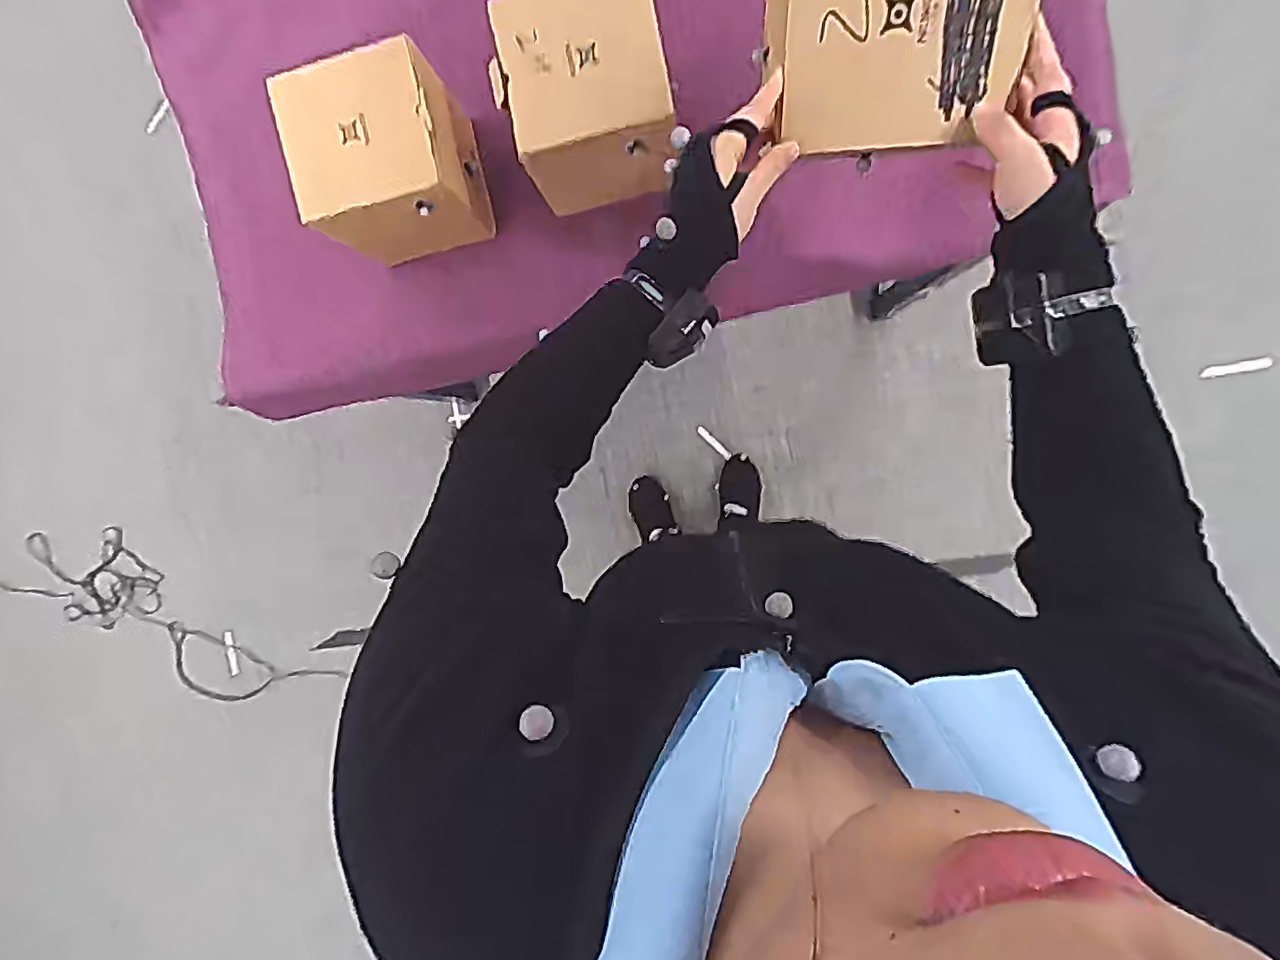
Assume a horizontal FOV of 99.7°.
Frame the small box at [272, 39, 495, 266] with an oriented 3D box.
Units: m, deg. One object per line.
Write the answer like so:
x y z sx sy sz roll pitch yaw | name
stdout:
-0.310 -0.393 0.686 0.179 0.176 0.168 -13 93 6 | small box

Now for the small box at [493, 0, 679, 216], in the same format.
-0.052 -0.449 0.653 0.179 0.176 0.168 -11 93 7 | small box
